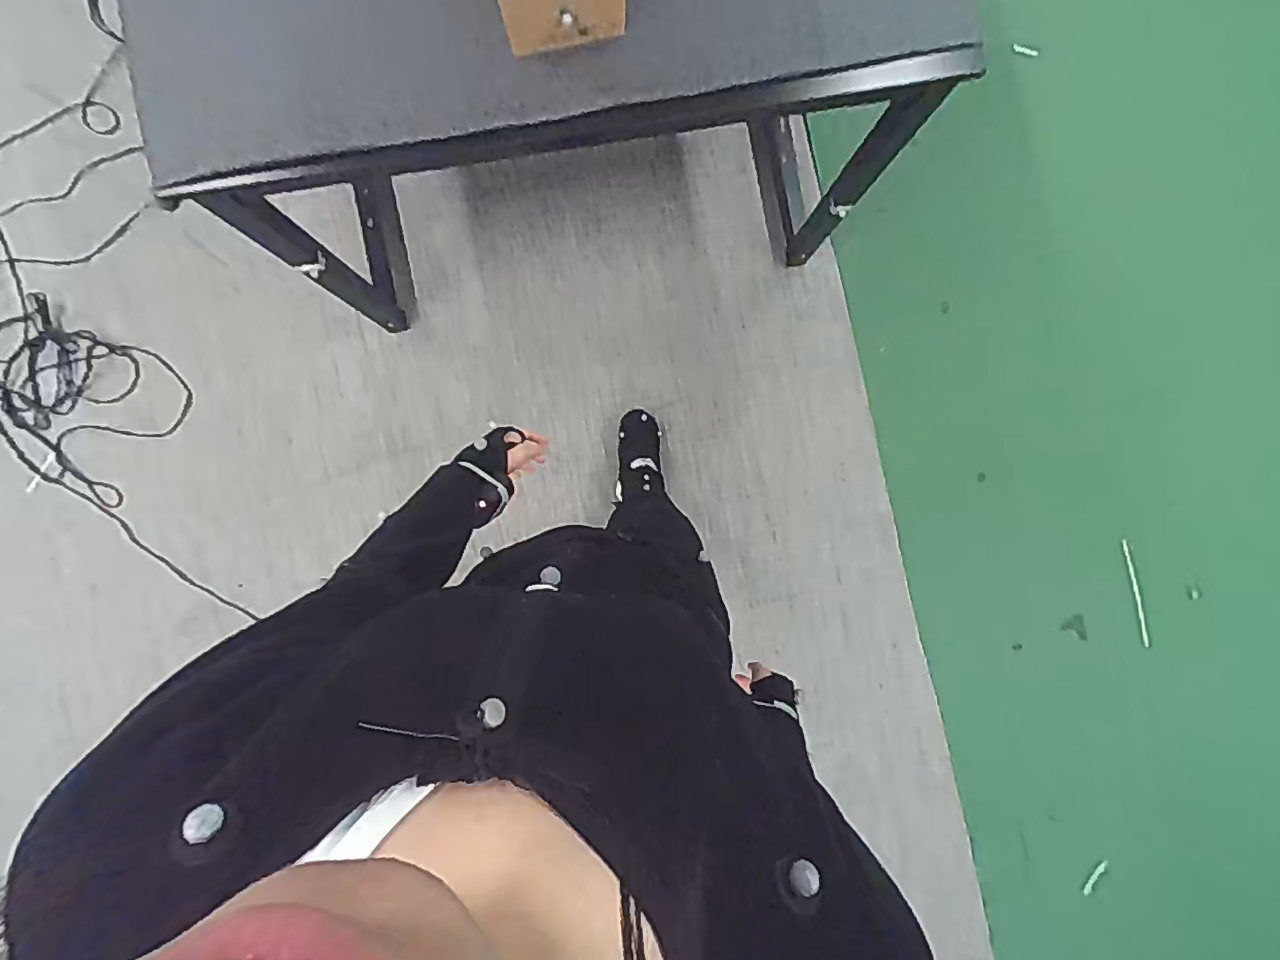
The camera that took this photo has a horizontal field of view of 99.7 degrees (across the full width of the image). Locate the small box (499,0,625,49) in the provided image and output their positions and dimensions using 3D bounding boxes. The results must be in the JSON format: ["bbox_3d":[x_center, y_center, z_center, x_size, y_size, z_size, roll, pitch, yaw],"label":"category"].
[{"bbox_3d":[-0.117,-0.704,0.681,0.168,0.176,0.179,-14,89,-3],"label":"small box"}]
